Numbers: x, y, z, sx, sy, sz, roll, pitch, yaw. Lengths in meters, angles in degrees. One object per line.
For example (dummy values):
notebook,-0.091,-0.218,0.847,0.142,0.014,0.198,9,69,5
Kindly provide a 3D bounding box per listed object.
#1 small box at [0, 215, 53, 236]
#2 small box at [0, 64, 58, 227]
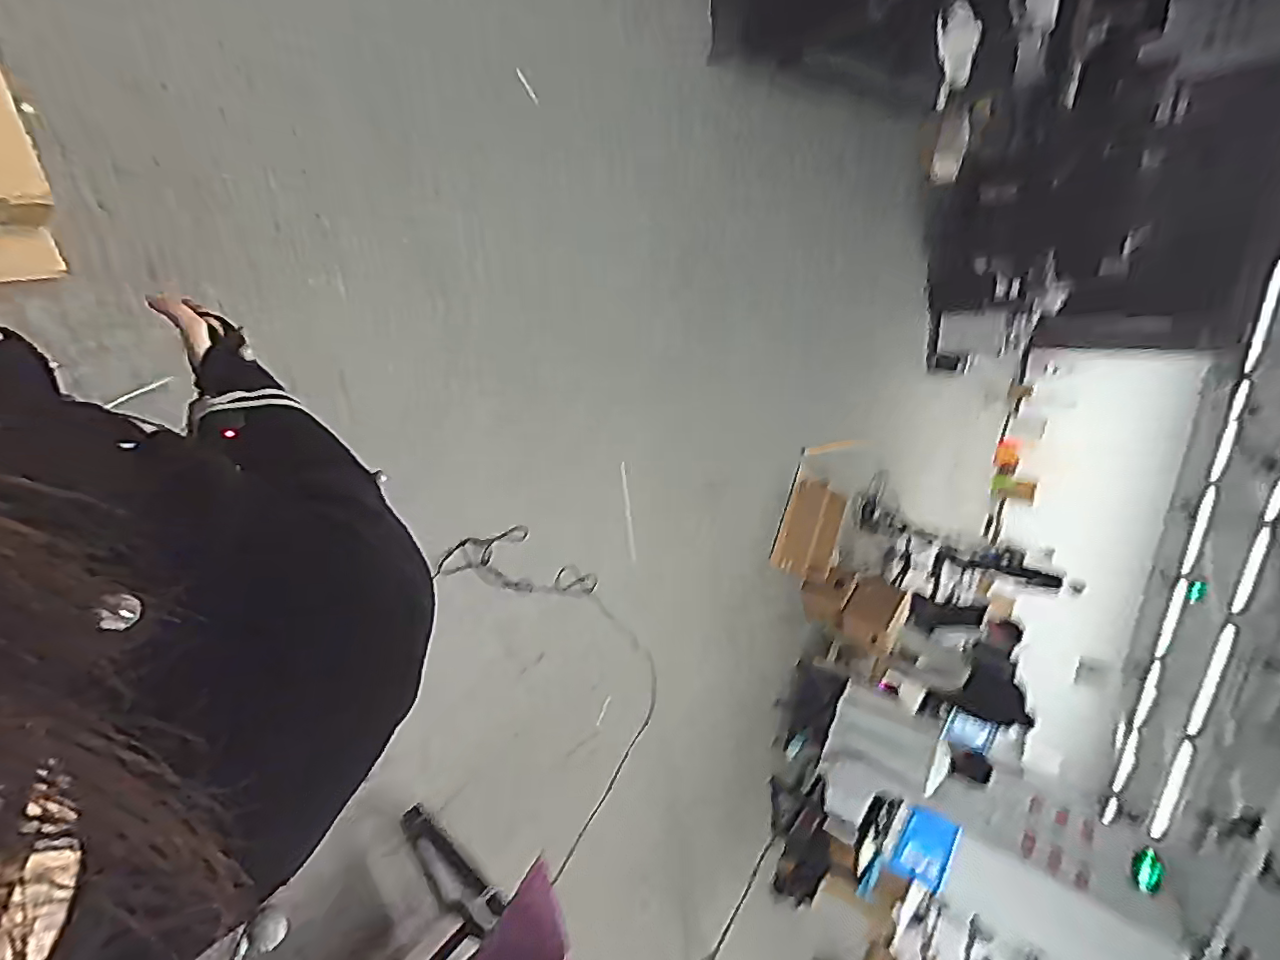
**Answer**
small box,-0.759,-0.352,0.552,0.168,0.176,0.179,-28,121,-40
small box,-0.637,-0.312,0.451,0.168,0.176,0.179,-27,119,-42
